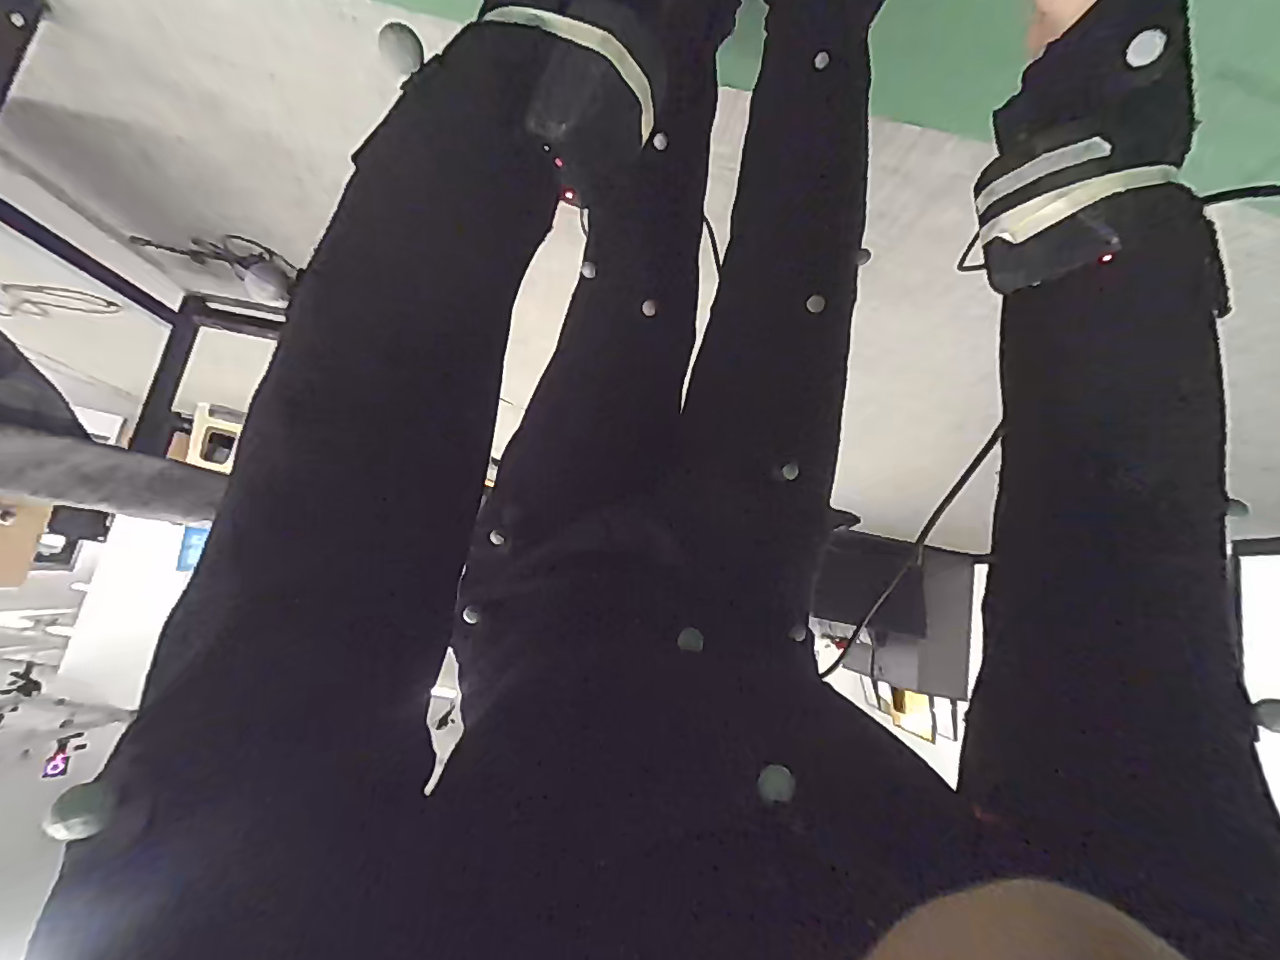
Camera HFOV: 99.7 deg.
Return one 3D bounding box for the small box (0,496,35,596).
[{"bbox_3d":[-1.179,0.094,0.889,0.179,0.176,0.168,9,170,3],"label":"small box"}]
